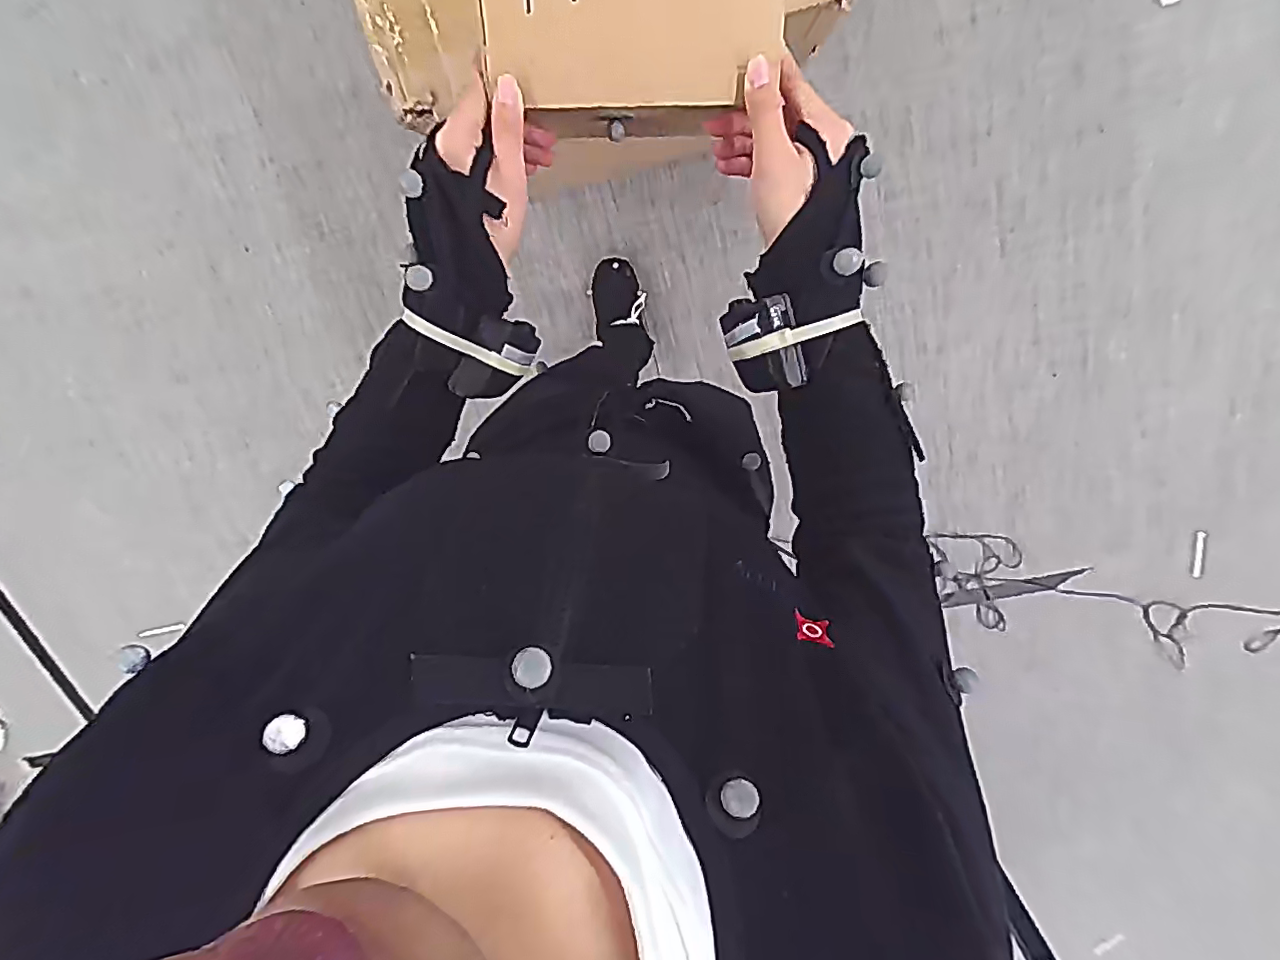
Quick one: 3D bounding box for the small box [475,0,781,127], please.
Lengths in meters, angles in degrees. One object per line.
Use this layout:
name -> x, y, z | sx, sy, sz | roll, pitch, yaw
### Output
small box -> -0.007, -0.341, 0.358 | 0.179, 0.176, 0.168 | -1, 117, 0
